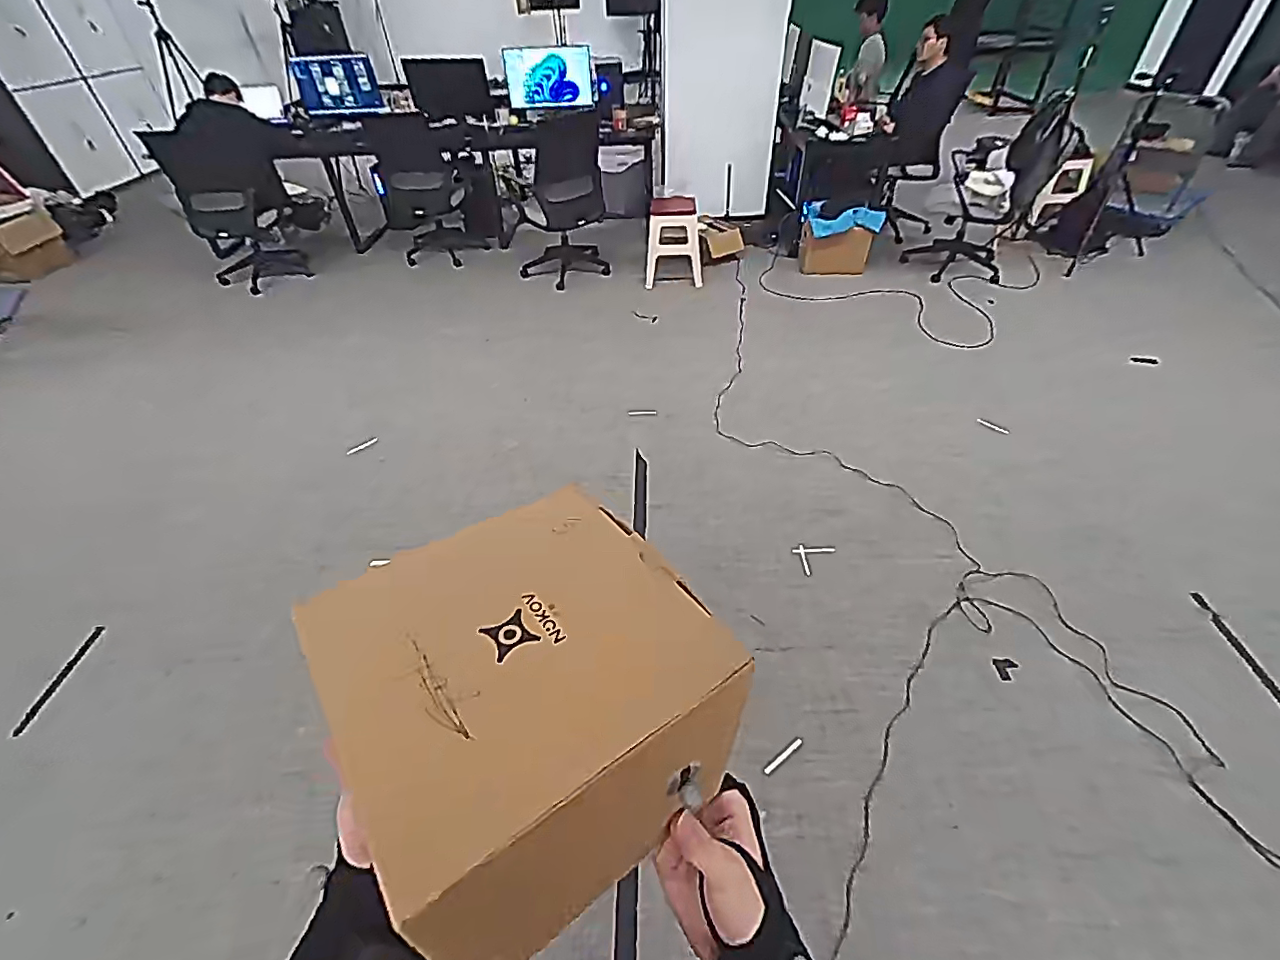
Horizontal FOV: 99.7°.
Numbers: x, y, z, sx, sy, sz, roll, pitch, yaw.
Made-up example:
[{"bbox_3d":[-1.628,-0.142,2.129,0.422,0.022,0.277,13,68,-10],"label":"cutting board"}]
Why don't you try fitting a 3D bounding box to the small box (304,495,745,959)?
[{"bbox_3d":[-0.064,0.145,0.331,0.179,0.176,0.168,-27,47,-28],"label":"small box"}]
